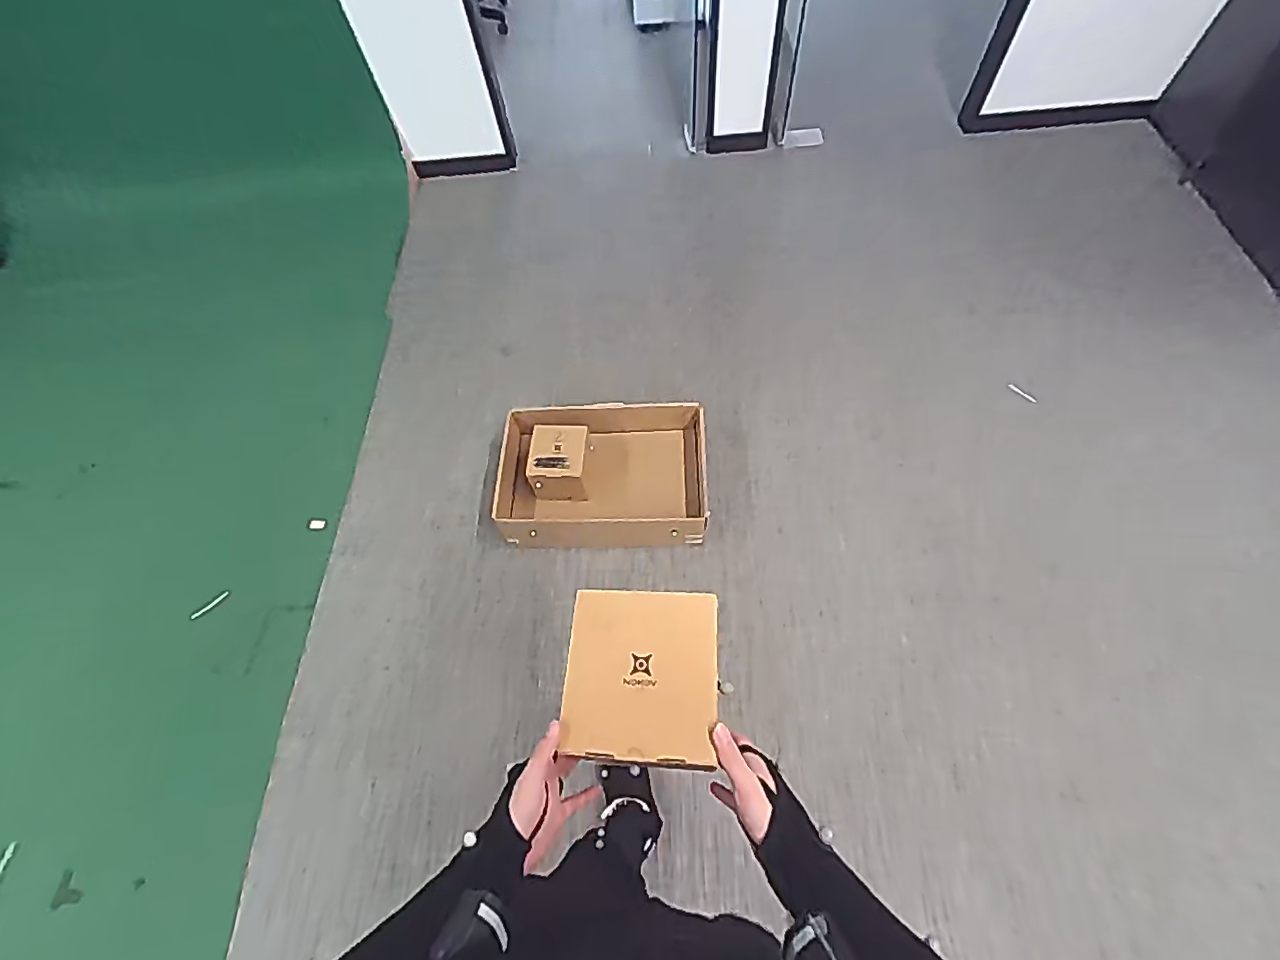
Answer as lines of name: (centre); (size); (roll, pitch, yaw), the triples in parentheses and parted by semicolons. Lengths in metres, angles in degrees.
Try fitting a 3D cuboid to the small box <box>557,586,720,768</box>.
small box: (0.009, 0.242, 0.655); (0.168, 0.176, 0.179); (1, 62, 7)
